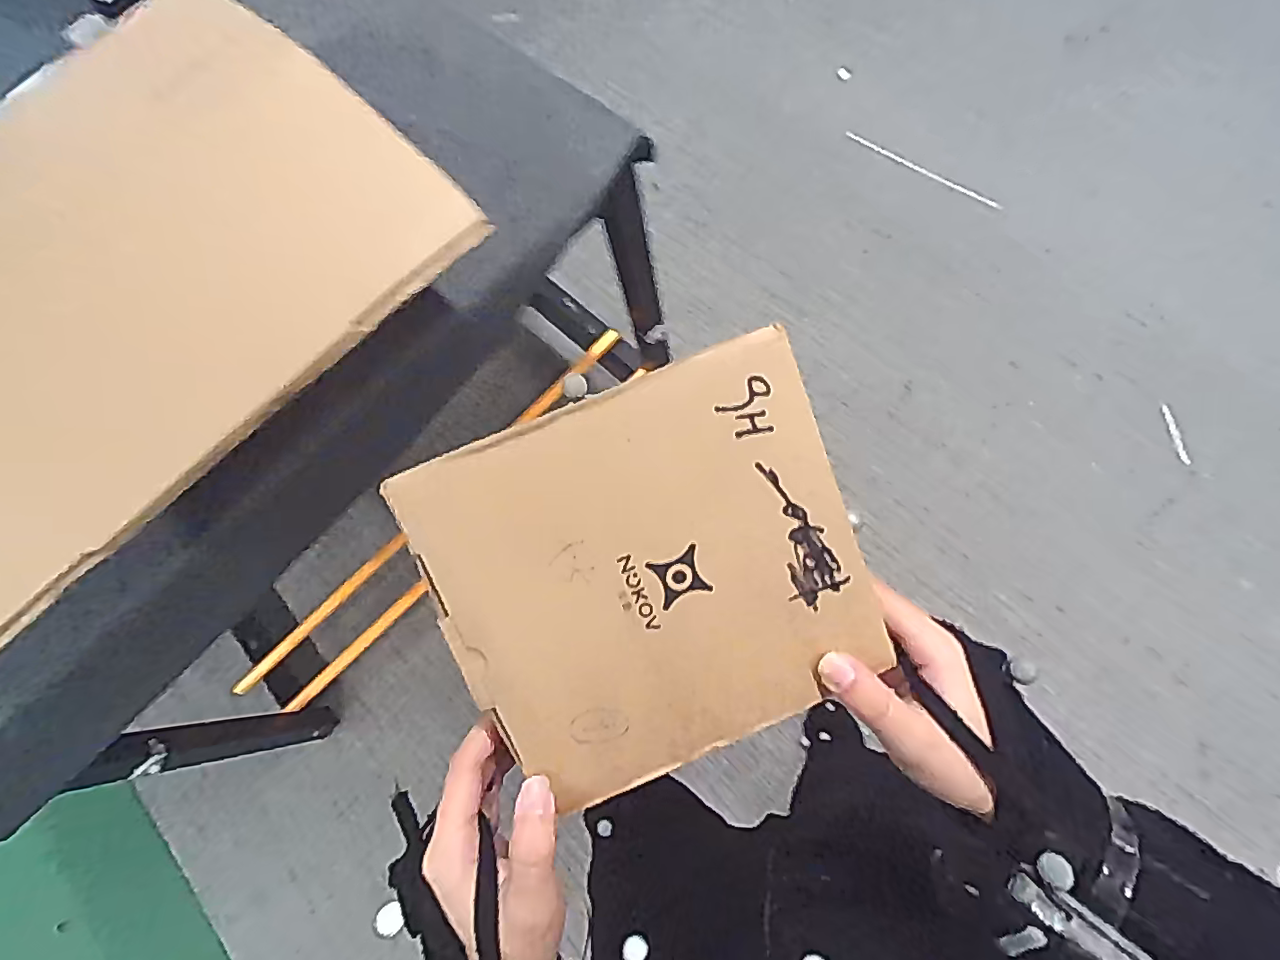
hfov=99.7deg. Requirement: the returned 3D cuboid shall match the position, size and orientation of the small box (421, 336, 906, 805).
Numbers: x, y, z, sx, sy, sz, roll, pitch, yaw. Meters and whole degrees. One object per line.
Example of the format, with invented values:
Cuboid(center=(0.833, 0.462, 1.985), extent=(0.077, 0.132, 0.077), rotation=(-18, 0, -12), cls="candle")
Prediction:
Cuboid(center=(0.010, 0.033, 0.315), extent=(0.179, 0.176, 0.168), rotation=(-21, 99, -2), cls="small box")
